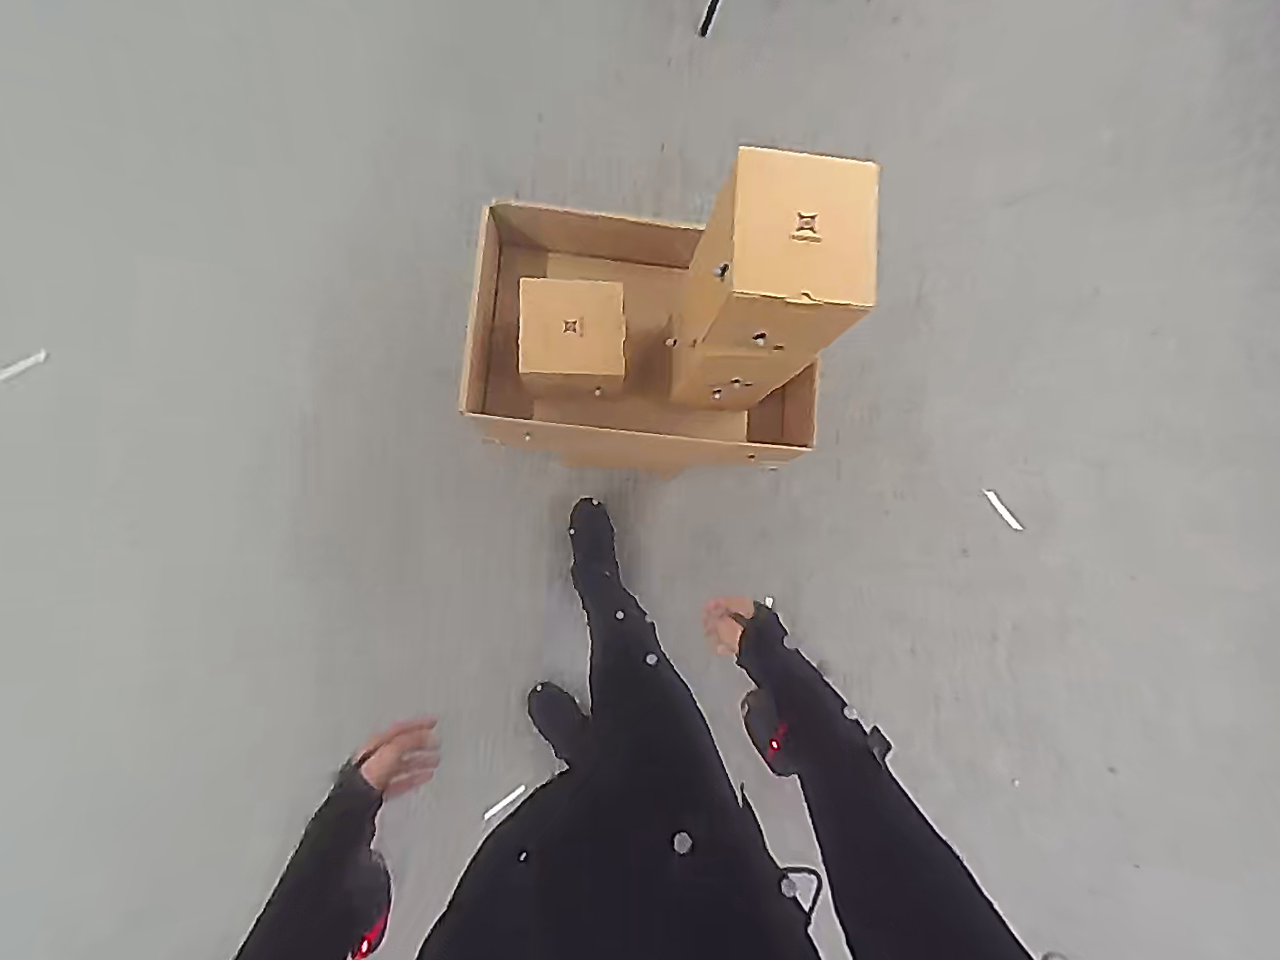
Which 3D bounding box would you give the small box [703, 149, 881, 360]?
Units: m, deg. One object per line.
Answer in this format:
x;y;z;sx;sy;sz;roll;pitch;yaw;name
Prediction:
0.178;-0.267;0.674;0.168;0.176;0.179;4;84;-5;small box
